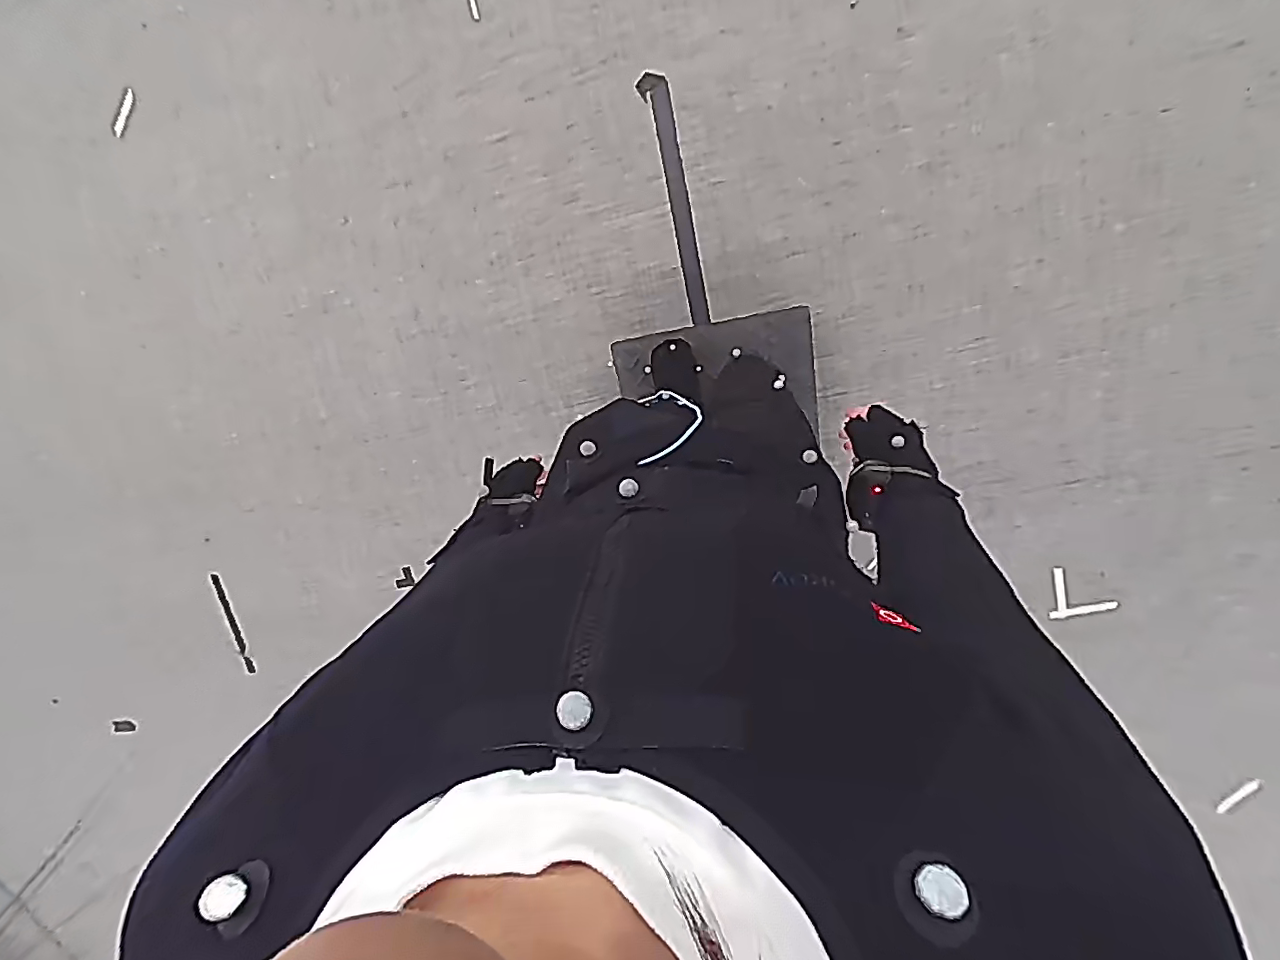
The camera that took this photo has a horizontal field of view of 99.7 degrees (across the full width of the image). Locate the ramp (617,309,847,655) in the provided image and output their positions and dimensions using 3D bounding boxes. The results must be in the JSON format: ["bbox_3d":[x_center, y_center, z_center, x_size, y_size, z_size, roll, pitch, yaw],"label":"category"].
[{"bbox_3d":[0.290,0.075,1.514,0.509,0.206,0.991,-12,102,10],"label":"ramp"}]
